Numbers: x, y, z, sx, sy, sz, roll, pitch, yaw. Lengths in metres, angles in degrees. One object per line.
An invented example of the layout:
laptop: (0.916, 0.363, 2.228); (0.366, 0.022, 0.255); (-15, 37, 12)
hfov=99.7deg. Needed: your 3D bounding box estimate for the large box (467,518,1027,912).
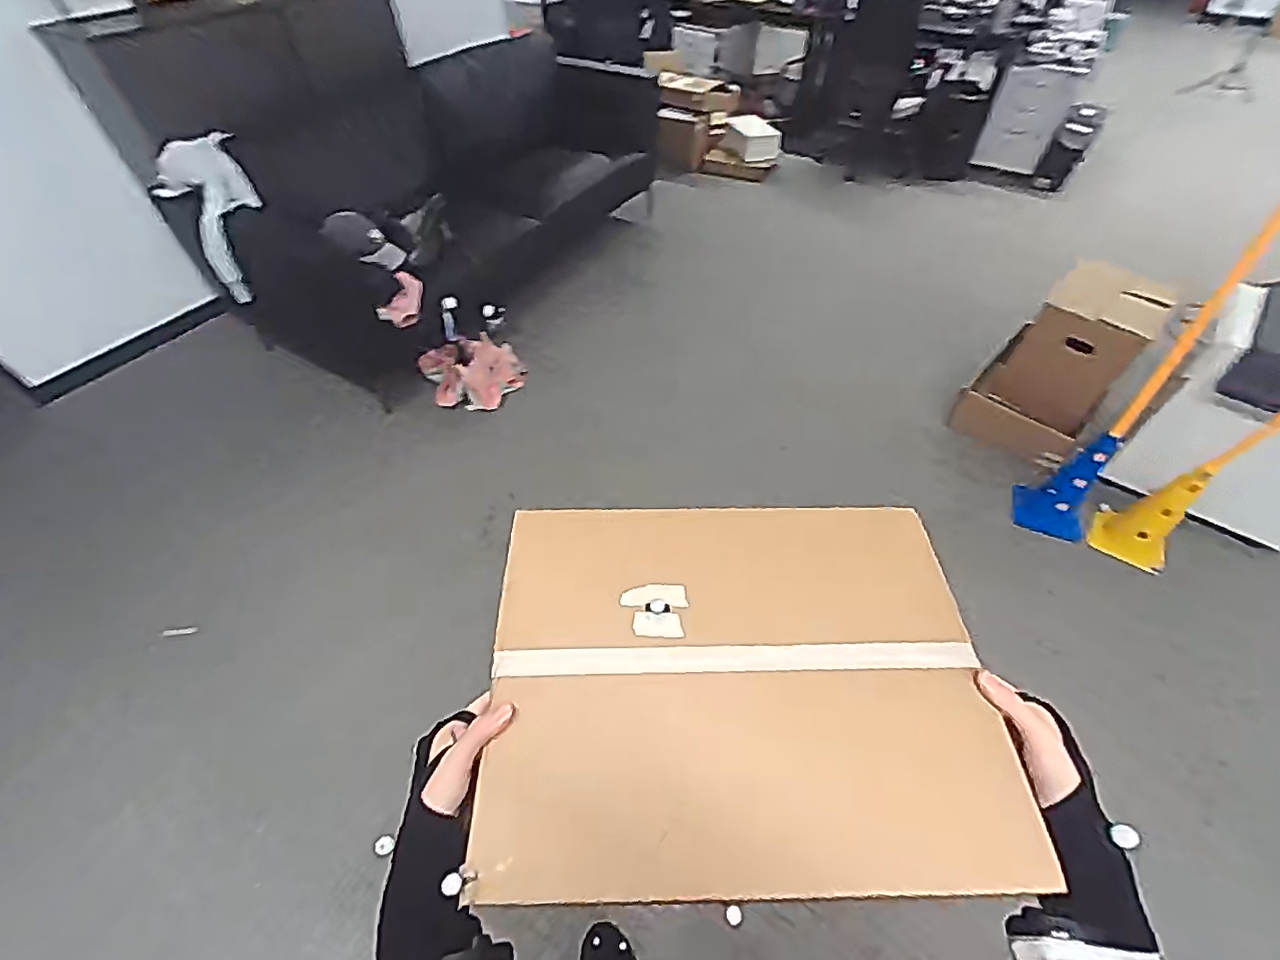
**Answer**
large box: (0.075, 0.256, 0.584); (0.408, 0.320, 0.320); (-1, 52, 0)
